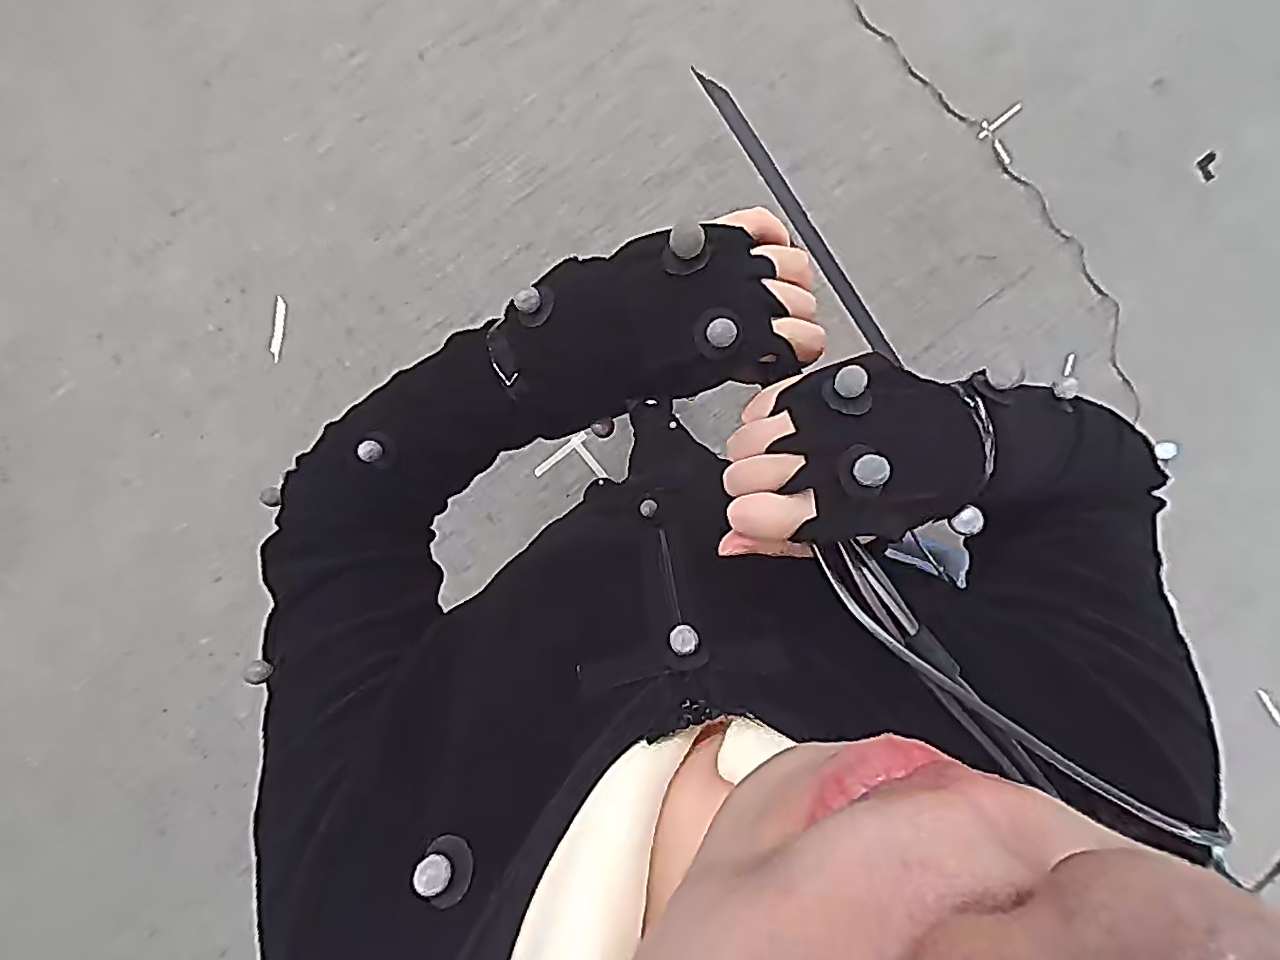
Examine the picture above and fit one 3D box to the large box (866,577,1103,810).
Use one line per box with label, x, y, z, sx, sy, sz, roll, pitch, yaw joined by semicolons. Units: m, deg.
large box;0.772;0.469;1.262;0.320;0.320;0.408;8;93;-4
